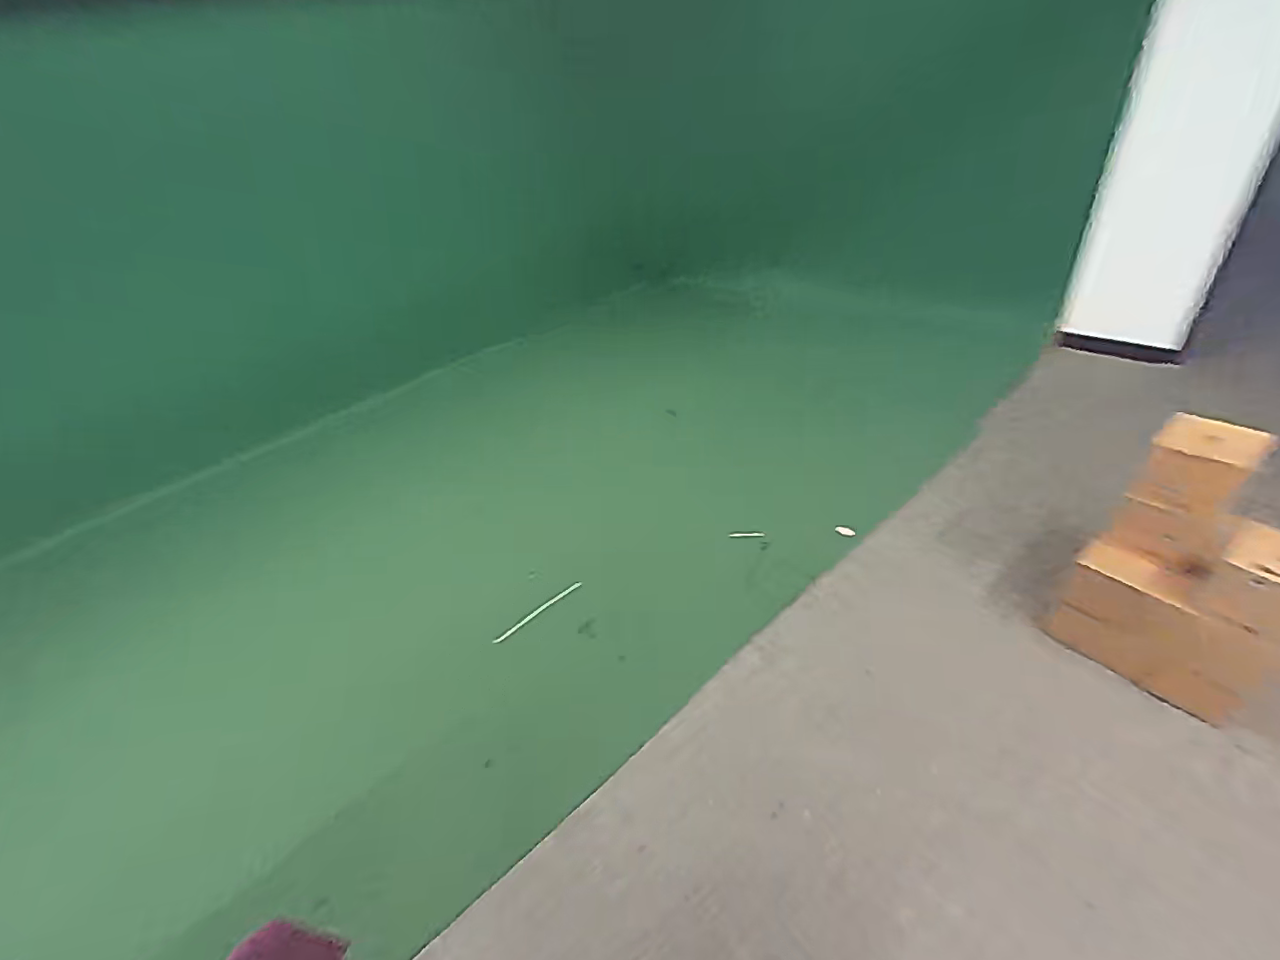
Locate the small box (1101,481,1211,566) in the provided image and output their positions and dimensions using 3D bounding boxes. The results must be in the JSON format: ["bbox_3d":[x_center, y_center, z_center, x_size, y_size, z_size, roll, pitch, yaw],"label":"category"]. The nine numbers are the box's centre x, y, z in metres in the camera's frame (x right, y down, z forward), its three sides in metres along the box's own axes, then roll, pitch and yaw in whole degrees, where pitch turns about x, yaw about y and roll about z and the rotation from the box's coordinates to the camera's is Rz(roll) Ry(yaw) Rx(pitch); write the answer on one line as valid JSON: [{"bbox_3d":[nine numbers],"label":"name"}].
[{"bbox_3d":[1.341,0.092,1.399,0.179,0.176,0.168,-29,40,-25],"label":"small box"}]

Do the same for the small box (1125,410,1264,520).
[{"bbox_3d":[1.321,-0.037,1.300,0.179,0.176,0.168,-31,40,-23],"label":"small box"}]

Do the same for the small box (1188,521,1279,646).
[{"bbox_3d":[1.383,0.228,1.200,0.179,0.176,0.168,-28,40,-23],"label":"small box"}]
